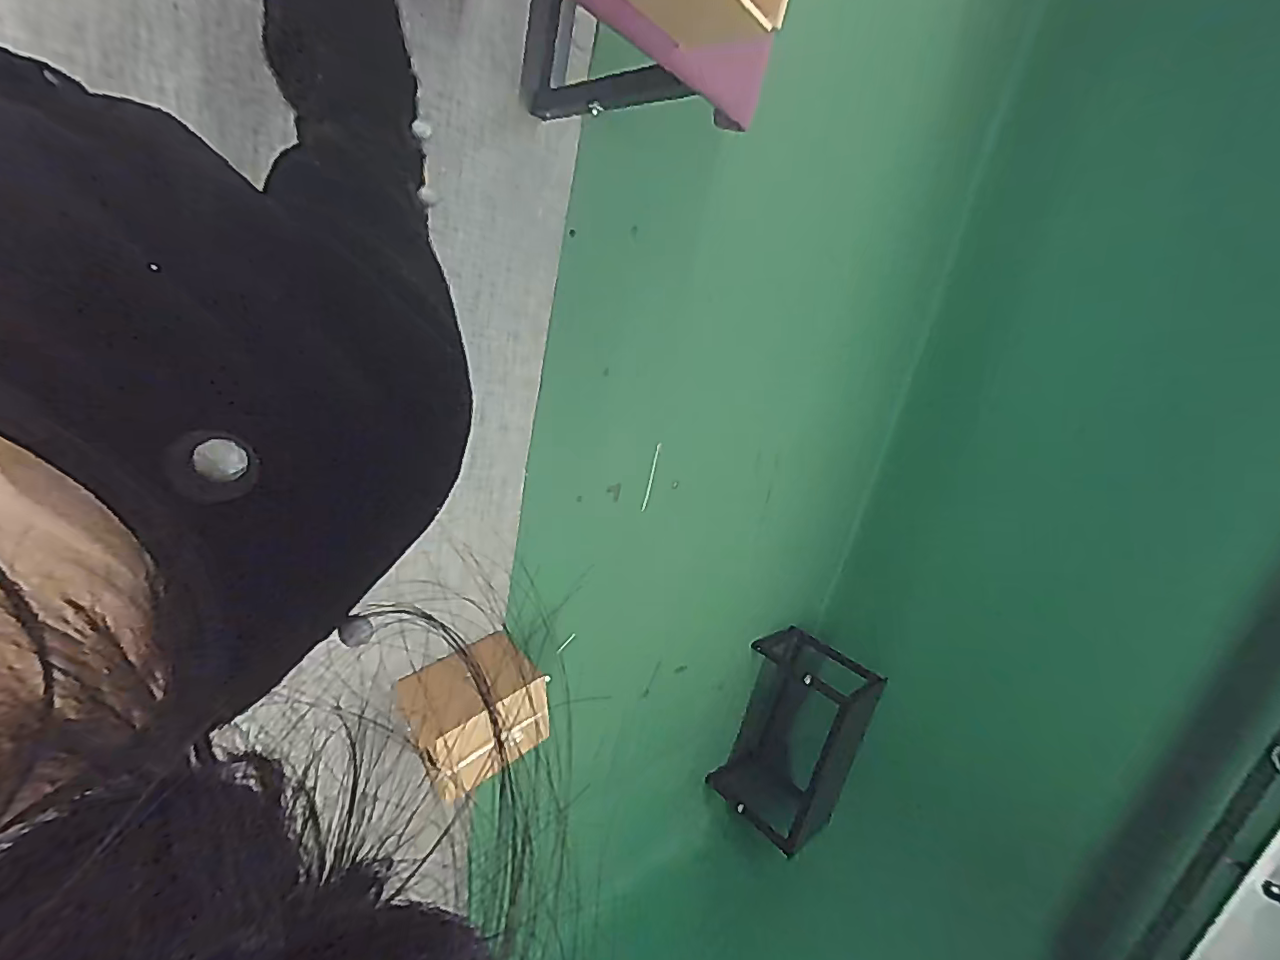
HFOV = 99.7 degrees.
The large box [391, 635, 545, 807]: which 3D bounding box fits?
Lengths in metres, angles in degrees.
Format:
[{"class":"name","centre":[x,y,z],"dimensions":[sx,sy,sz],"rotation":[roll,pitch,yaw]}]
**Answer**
[{"class":"large box","centre":[-0.597,0.824,1.908],"dimensions":[0.408,0.320,0.320],"rotation":[-21,125,-40]}]
